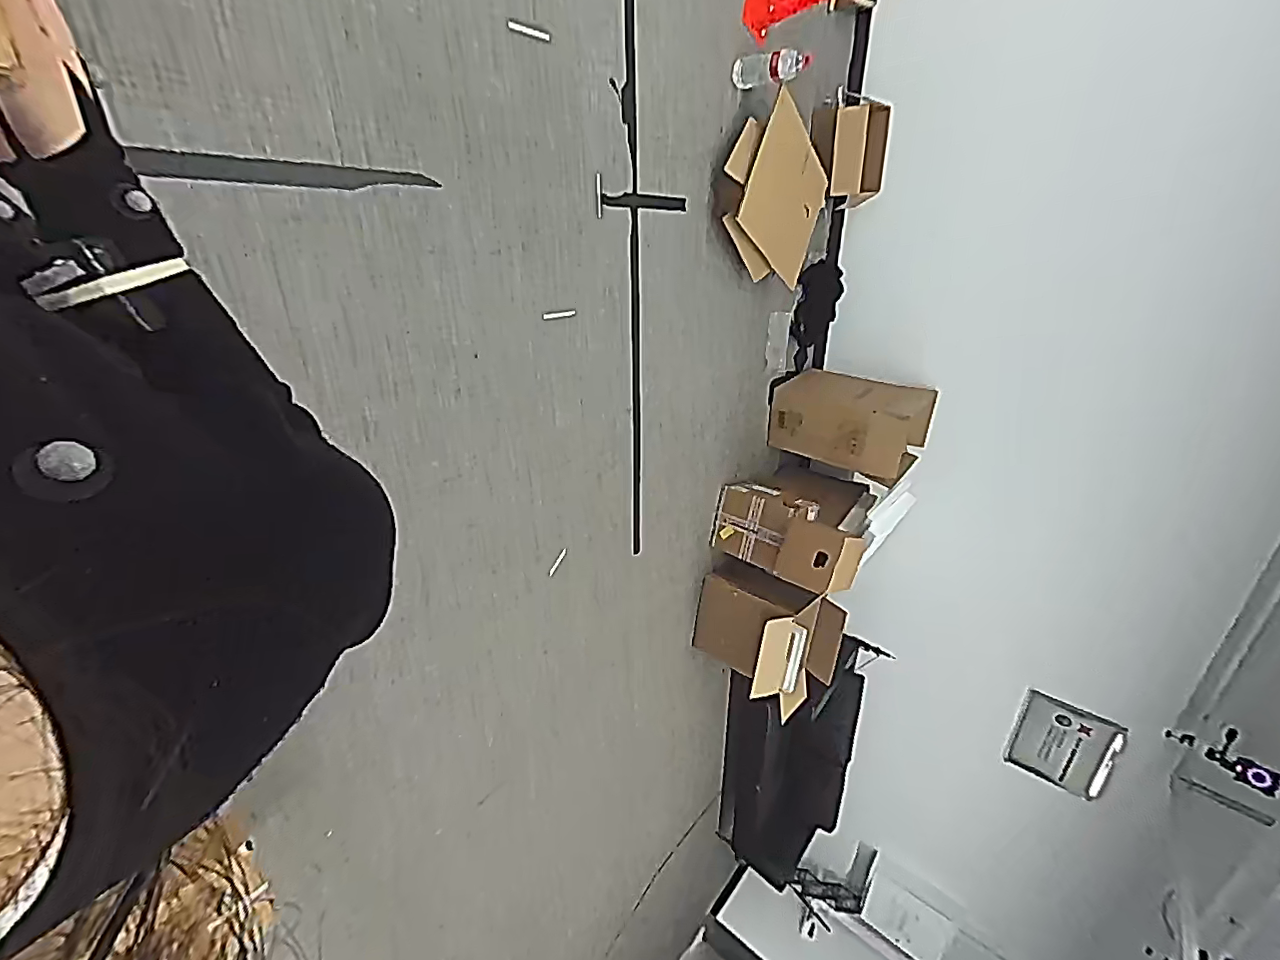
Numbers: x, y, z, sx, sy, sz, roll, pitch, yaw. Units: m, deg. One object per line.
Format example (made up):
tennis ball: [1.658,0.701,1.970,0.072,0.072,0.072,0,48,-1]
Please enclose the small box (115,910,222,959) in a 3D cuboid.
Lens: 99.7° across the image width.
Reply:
small box: [-0.990,1.065,1.129,0.179,0.176,0.168,-27,125,-43]
